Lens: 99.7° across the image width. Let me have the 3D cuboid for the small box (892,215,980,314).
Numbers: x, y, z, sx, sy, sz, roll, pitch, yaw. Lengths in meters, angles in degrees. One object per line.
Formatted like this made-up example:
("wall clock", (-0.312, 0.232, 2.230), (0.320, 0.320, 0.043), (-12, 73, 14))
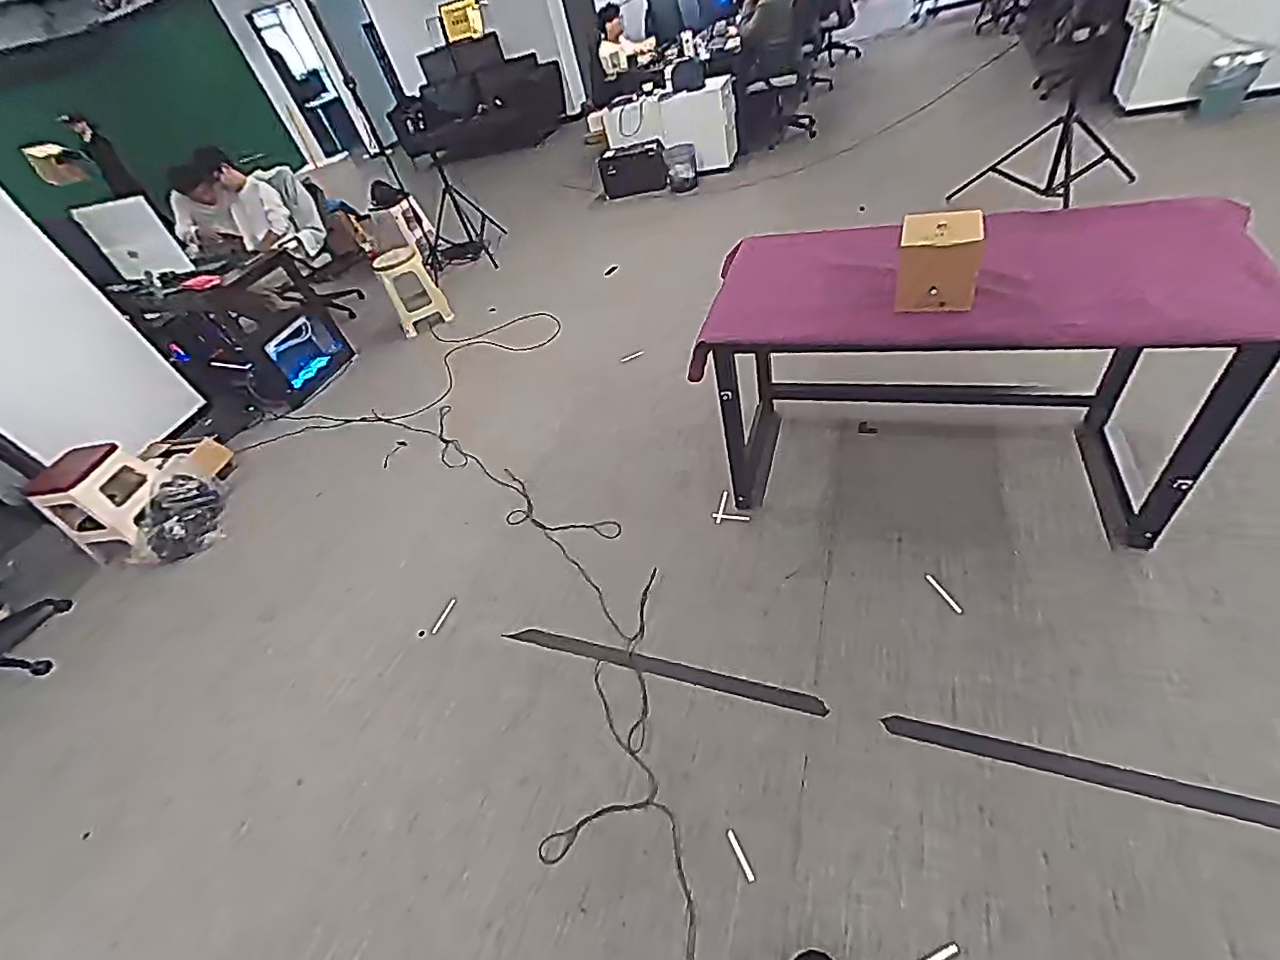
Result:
("small box", (0.712, -0.520, 1.311), (0.168, 0.176, 0.179), (6, 48, 24))
